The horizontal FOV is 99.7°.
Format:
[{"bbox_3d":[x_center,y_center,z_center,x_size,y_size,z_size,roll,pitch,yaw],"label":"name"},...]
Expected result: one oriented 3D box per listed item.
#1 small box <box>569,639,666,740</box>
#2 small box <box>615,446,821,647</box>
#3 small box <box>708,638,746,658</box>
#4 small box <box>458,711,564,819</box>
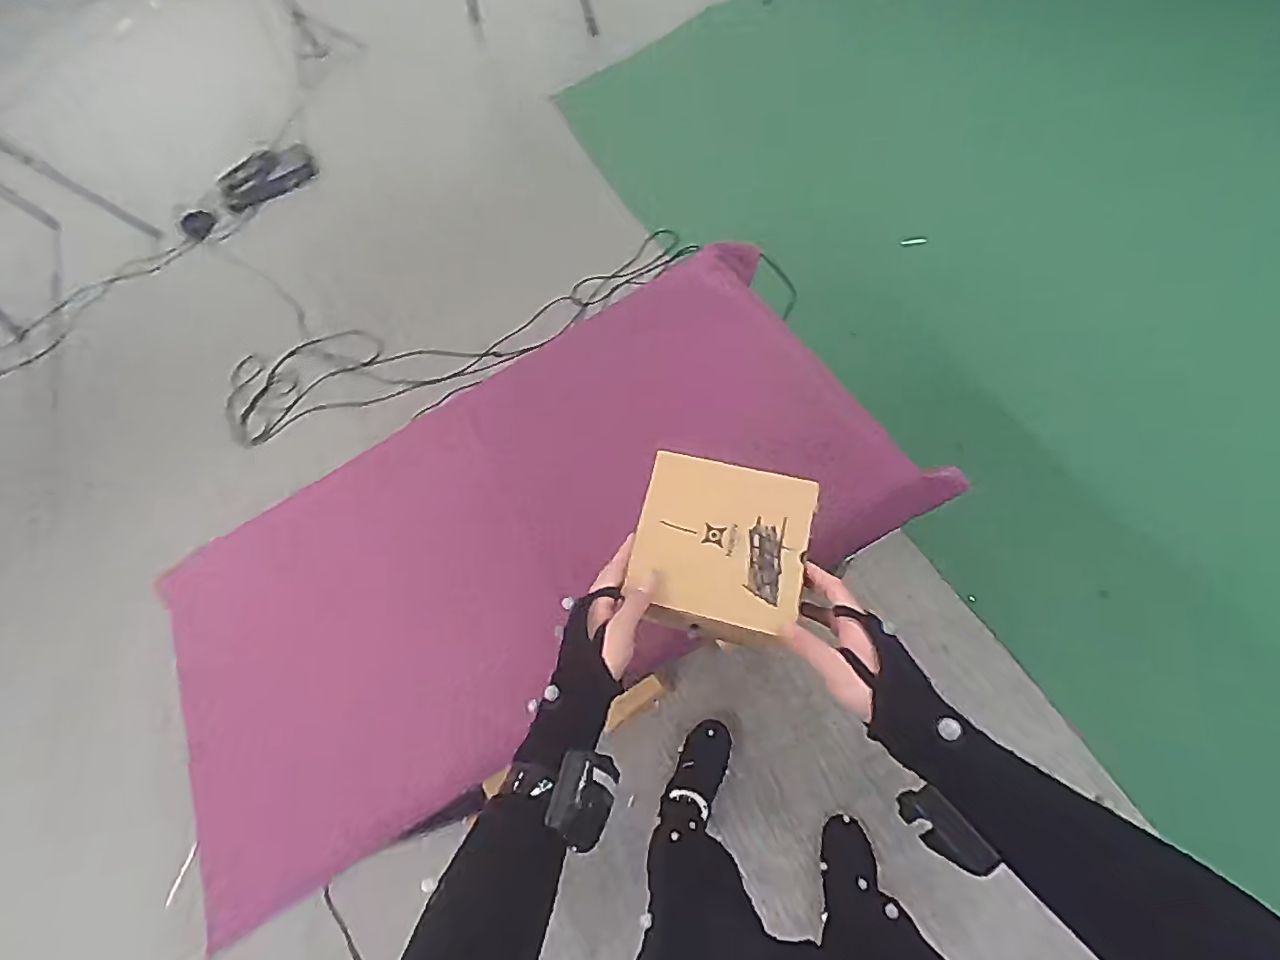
[{"bbox_3d":[-0.048,0.535,1.380,0.179,0.176,0.168,-37,63,-6],"label":"small box"},{"bbox_3d":[0.086,0.085,0.617,0.179,0.176,0.168,14,70,11],"label":"small box"},{"bbox_3d":[0.239,0.345,1.407,0.179,0.176,0.168,-30,63,-4],"label":"small box"},{"bbox_3d":[-0.316,0.704,1.358,0.168,0.176,0.179,-39,64,-7],"label":"small box"}]
